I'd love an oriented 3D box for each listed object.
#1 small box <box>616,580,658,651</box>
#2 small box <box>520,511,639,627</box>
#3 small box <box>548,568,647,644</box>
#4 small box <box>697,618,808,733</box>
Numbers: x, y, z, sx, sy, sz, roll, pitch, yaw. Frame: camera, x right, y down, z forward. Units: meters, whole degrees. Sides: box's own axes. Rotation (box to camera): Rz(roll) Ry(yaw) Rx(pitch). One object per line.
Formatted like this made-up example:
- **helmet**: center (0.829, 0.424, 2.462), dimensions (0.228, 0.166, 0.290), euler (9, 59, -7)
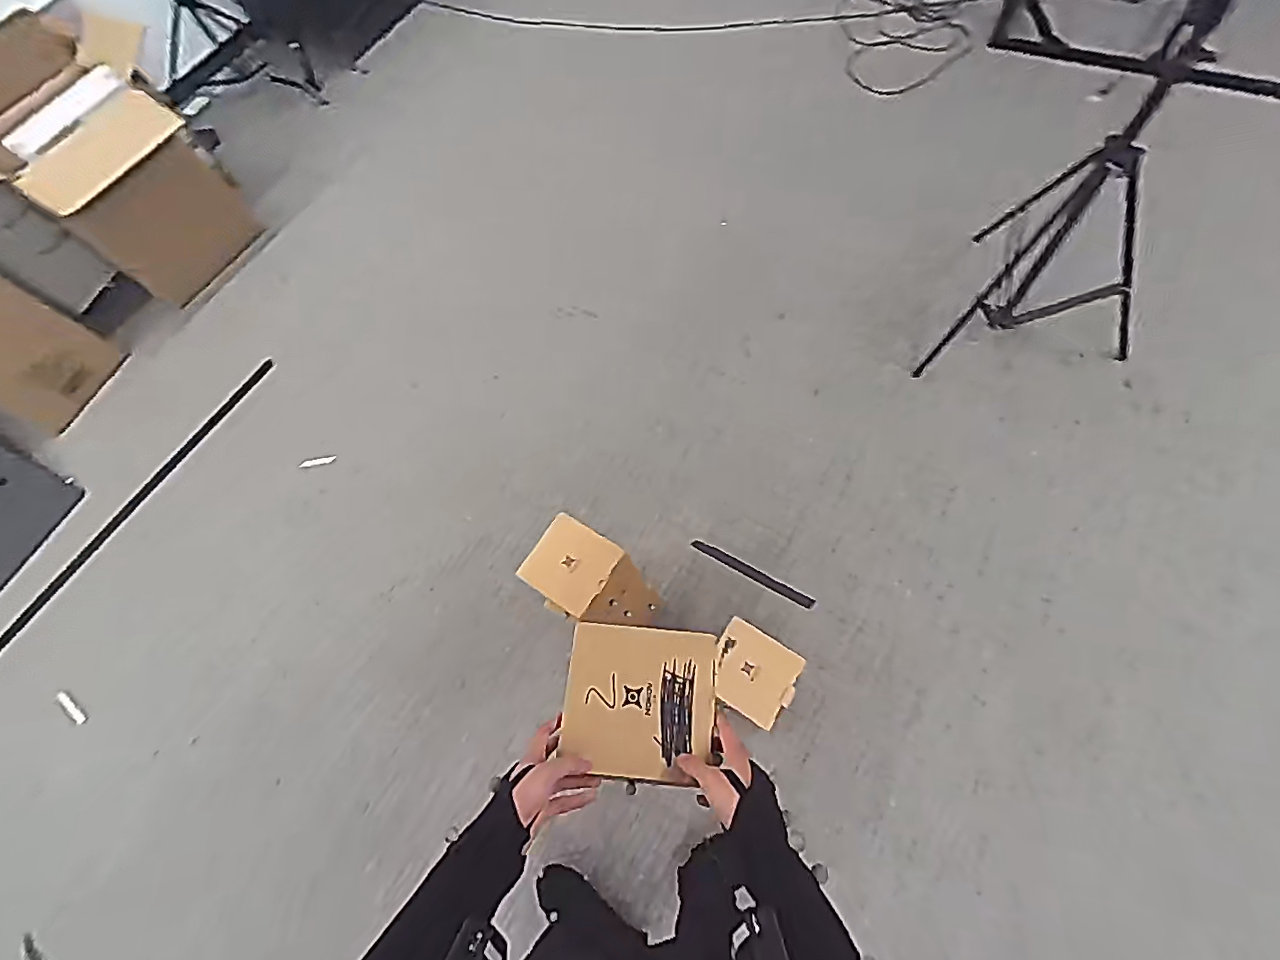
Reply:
- **small box**: center (-0.060, 0.345, 1.469), dimensions (0.168, 0.176, 0.179), euler (22, 72, 18)
- **small box**: center (-0.123, 0.201, 1.182), dimensions (0.179, 0.176, 0.168), euler (29, 74, 20)
- **small box**: center (-0.094, 0.280, 1.322), dimensions (0.168, 0.176, 0.179), euler (24, 73, 19)
- **small box**: center (0.244, 0.431, 1.198), dimensions (0.179, 0.176, 0.168), euler (31, 74, 19)
